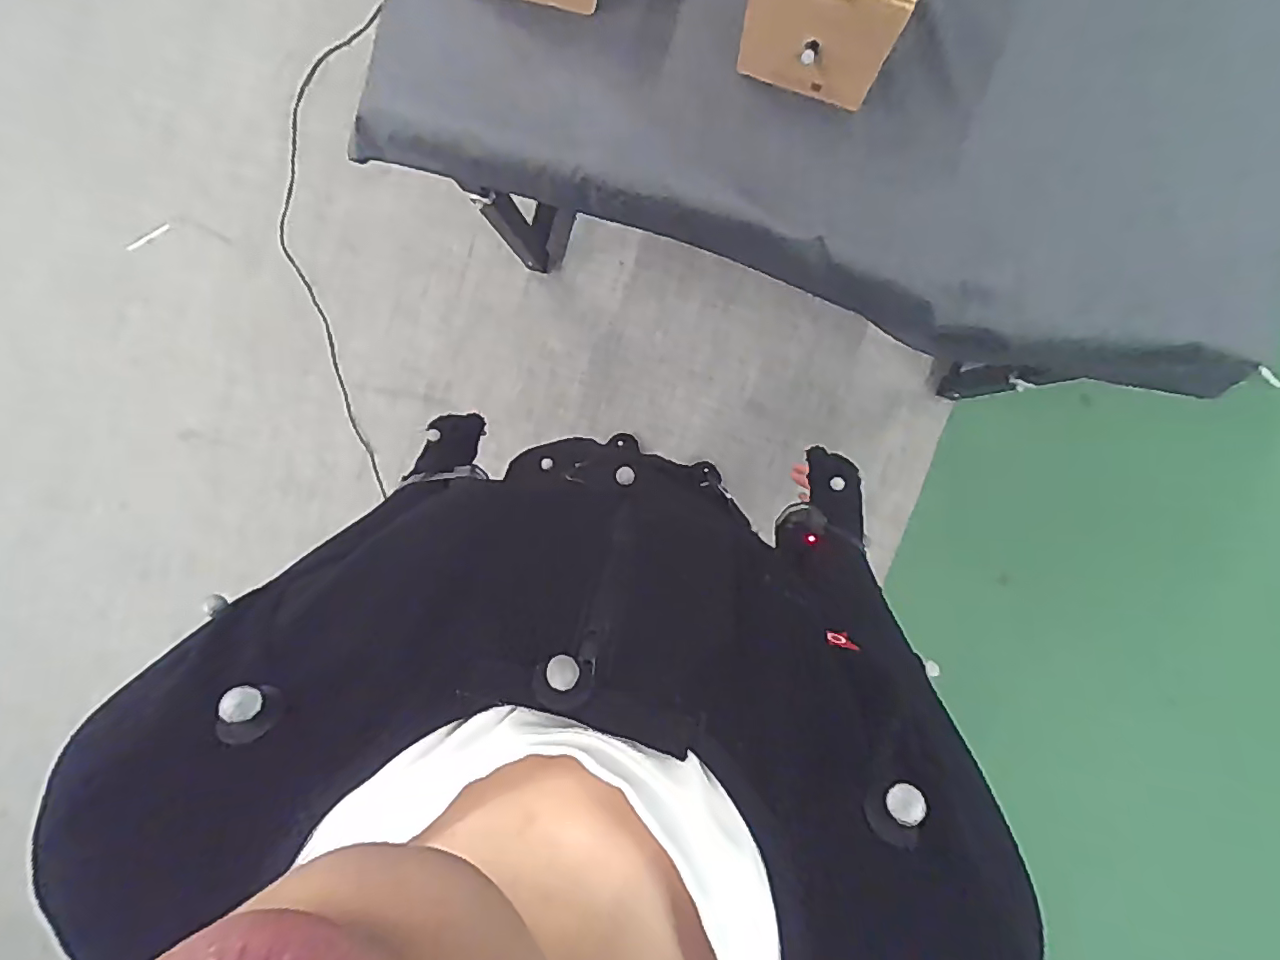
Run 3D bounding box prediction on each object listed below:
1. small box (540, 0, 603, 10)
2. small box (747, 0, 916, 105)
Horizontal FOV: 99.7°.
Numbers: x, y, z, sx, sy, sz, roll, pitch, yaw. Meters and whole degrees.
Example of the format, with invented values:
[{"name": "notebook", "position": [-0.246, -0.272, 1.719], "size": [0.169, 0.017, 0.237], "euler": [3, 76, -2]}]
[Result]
[{"name": "small box", "position": [-0.120, -0.698, 0.621], "size": [0.179, 0.176, 0.168], "euler": [15, 95, 2]}, {"name": "small box", "position": [0.228, -0.573, 0.607], "size": [0.168, 0.176, 0.179], "euler": [20, 95, 2]}]
